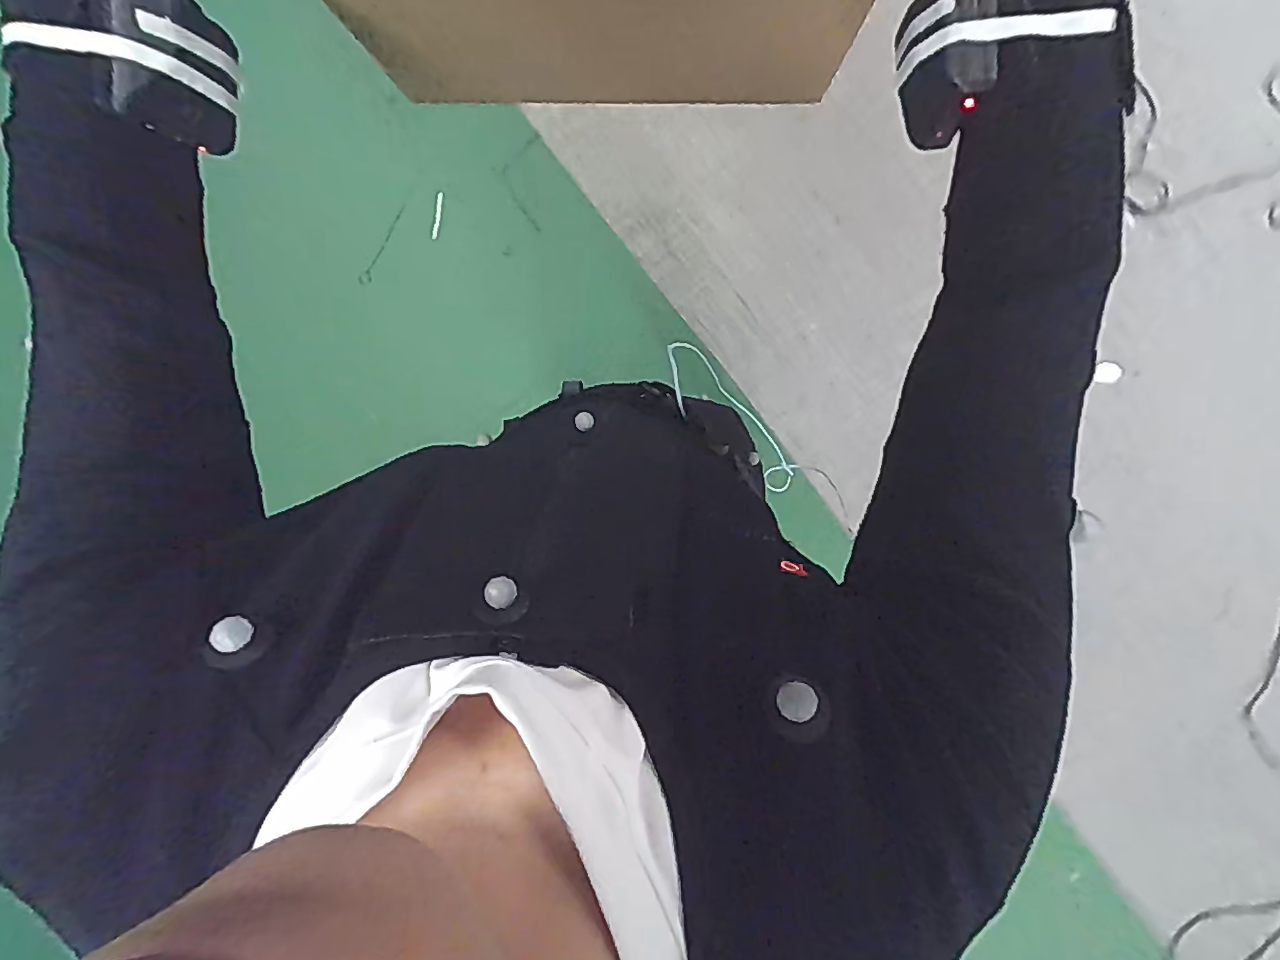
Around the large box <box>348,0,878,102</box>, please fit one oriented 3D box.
[{"bbox_3d":[-0.021,-0.496,0.359,0.408,0.320,0.320,2,100,1],"label":"large box"}]
